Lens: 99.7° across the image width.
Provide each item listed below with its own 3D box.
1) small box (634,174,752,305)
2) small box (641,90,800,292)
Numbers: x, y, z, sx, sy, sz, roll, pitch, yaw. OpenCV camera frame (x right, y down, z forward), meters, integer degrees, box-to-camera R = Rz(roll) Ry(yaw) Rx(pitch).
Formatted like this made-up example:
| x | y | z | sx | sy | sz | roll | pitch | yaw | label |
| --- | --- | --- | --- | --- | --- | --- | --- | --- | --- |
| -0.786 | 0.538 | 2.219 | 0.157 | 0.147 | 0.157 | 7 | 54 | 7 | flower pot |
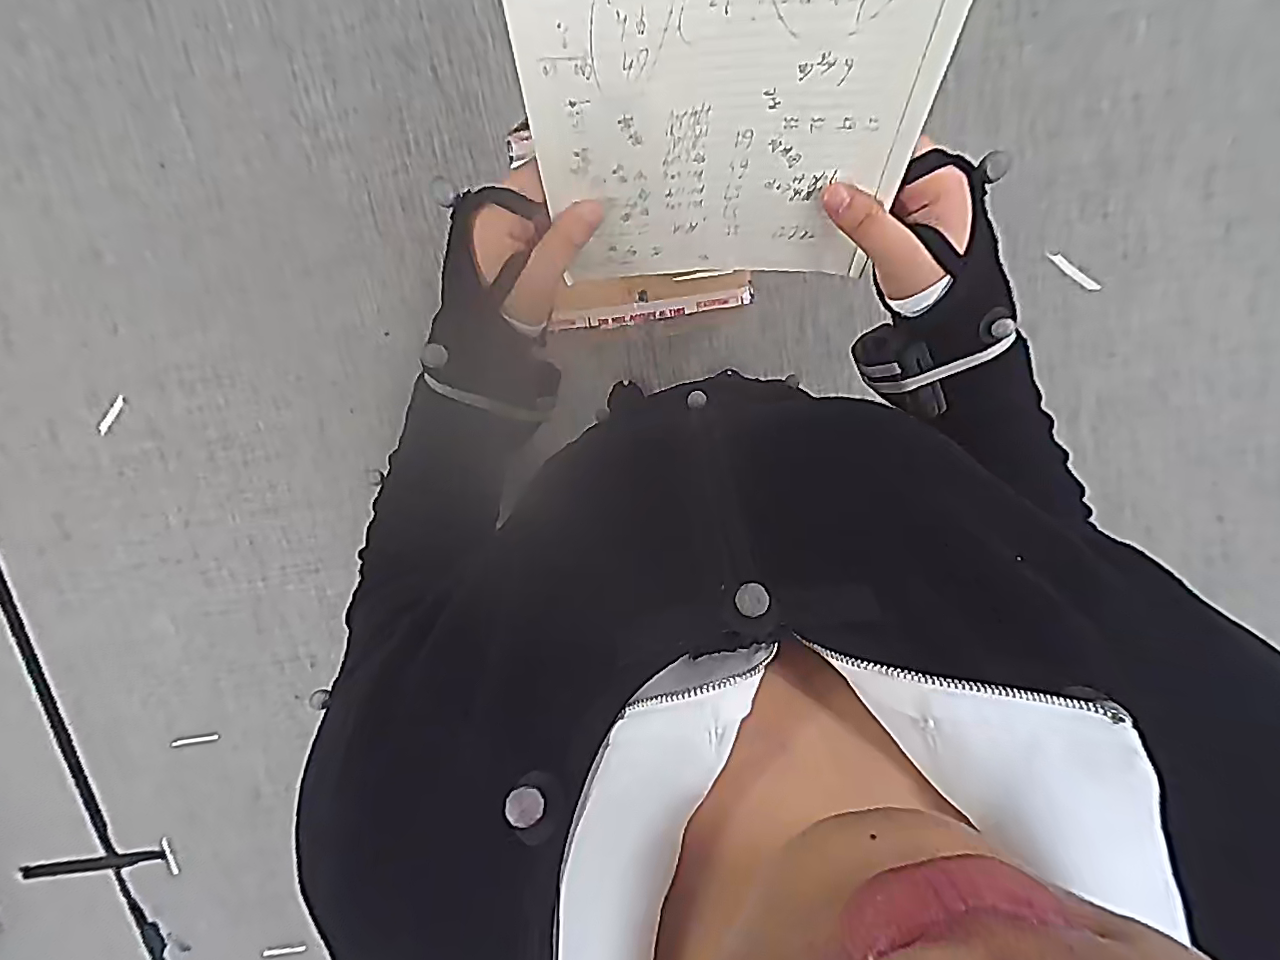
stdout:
| x | y | z | sx | sy | sz | roll | pitch | yaw | label |
| --- | --- | --- | --- | --- | --- | --- | --- | --- | --- |
| 0.089 | -0.387 | 0.859 | 0.179 | 0.176 | 0.168 | -12 | 101 | 2 | small box |
| 0.094 | -0.356 | 0.698 | 0.168 | 0.176 | 0.179 | -9 | 102 | 1 | small box |
